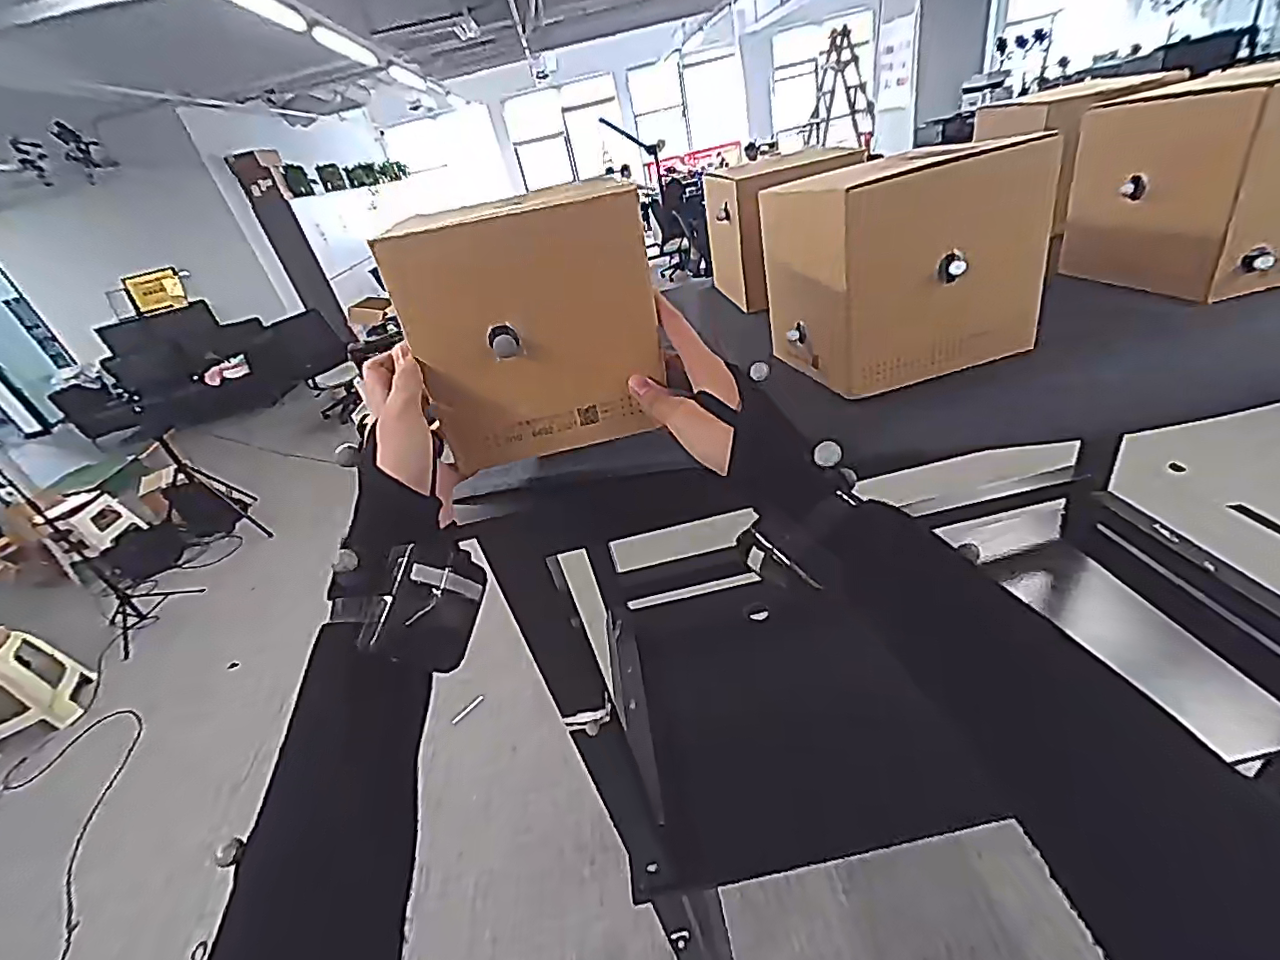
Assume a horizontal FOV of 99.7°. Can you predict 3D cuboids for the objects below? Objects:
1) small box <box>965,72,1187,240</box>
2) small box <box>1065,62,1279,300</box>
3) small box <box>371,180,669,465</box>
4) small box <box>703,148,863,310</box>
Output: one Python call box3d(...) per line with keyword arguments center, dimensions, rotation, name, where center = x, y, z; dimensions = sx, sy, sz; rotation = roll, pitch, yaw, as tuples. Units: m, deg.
box3d(center=(0.598, -0.453, 0.771), dimensions=(0.168, 0.176, 0.179), rotation=(-10, 32, 4), name="small box")
box3d(center=(0.556, -0.281, 0.512), dimensions=(0.168, 0.176, 0.179), rotation=(-14, 29, 1), name="small box")
box3d(center=(-0.081, -0.125, 0.432), dimensions=(0.168, 0.176, 0.179), rotation=(-14, 32, -4), name="small box")
box3d(center=(0.197, -0.352, 0.763), dimensions=(0.168, 0.176, 0.179), rotation=(-13, 32, -1), name="small box")
